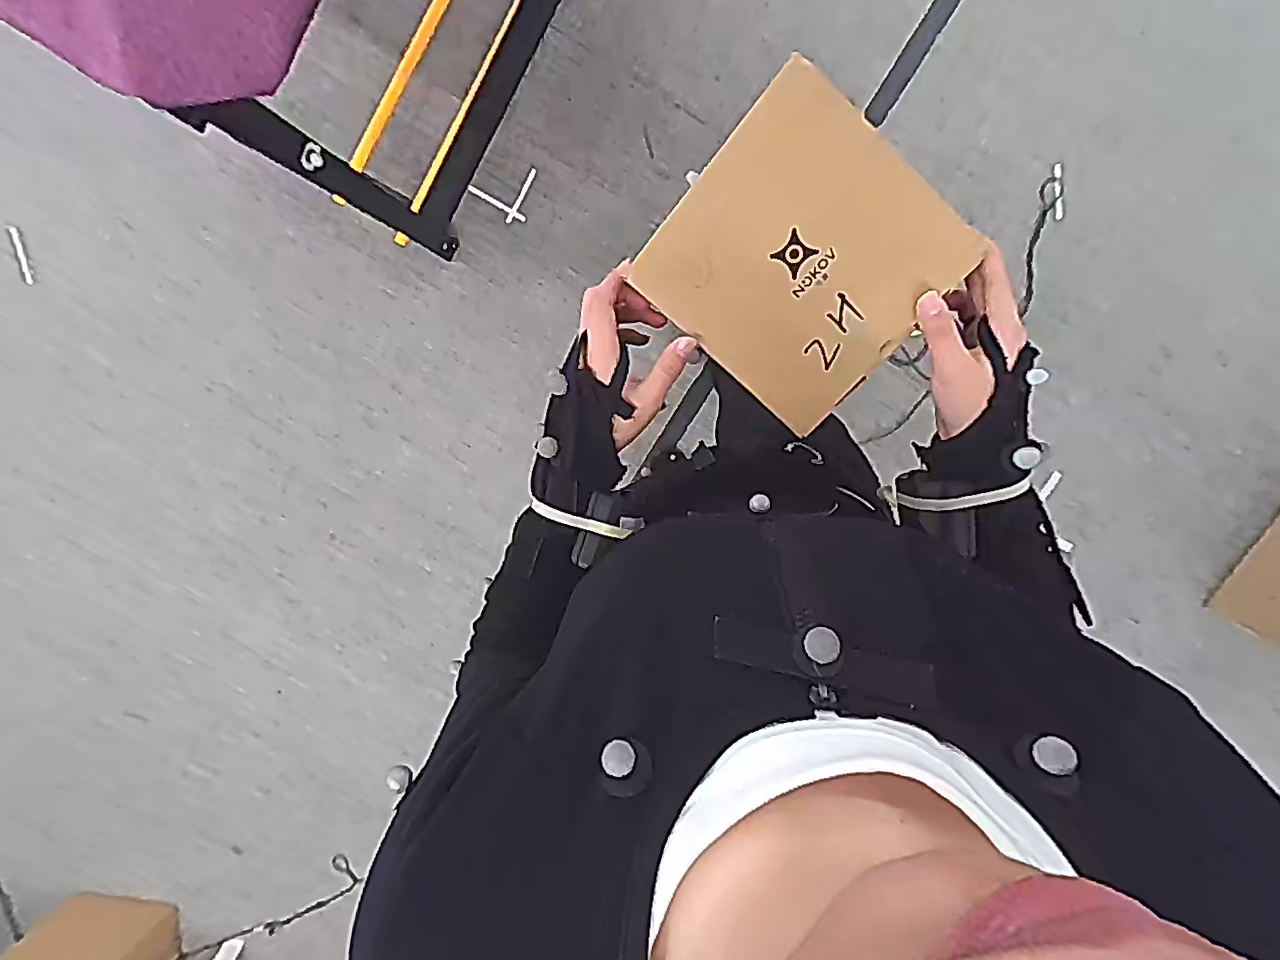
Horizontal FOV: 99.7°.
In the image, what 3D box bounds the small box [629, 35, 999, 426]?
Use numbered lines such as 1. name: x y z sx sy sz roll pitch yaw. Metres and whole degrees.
1. small box: 0.112 -0.171 0.420 0.179 0.176 0.168 39 107 -10
